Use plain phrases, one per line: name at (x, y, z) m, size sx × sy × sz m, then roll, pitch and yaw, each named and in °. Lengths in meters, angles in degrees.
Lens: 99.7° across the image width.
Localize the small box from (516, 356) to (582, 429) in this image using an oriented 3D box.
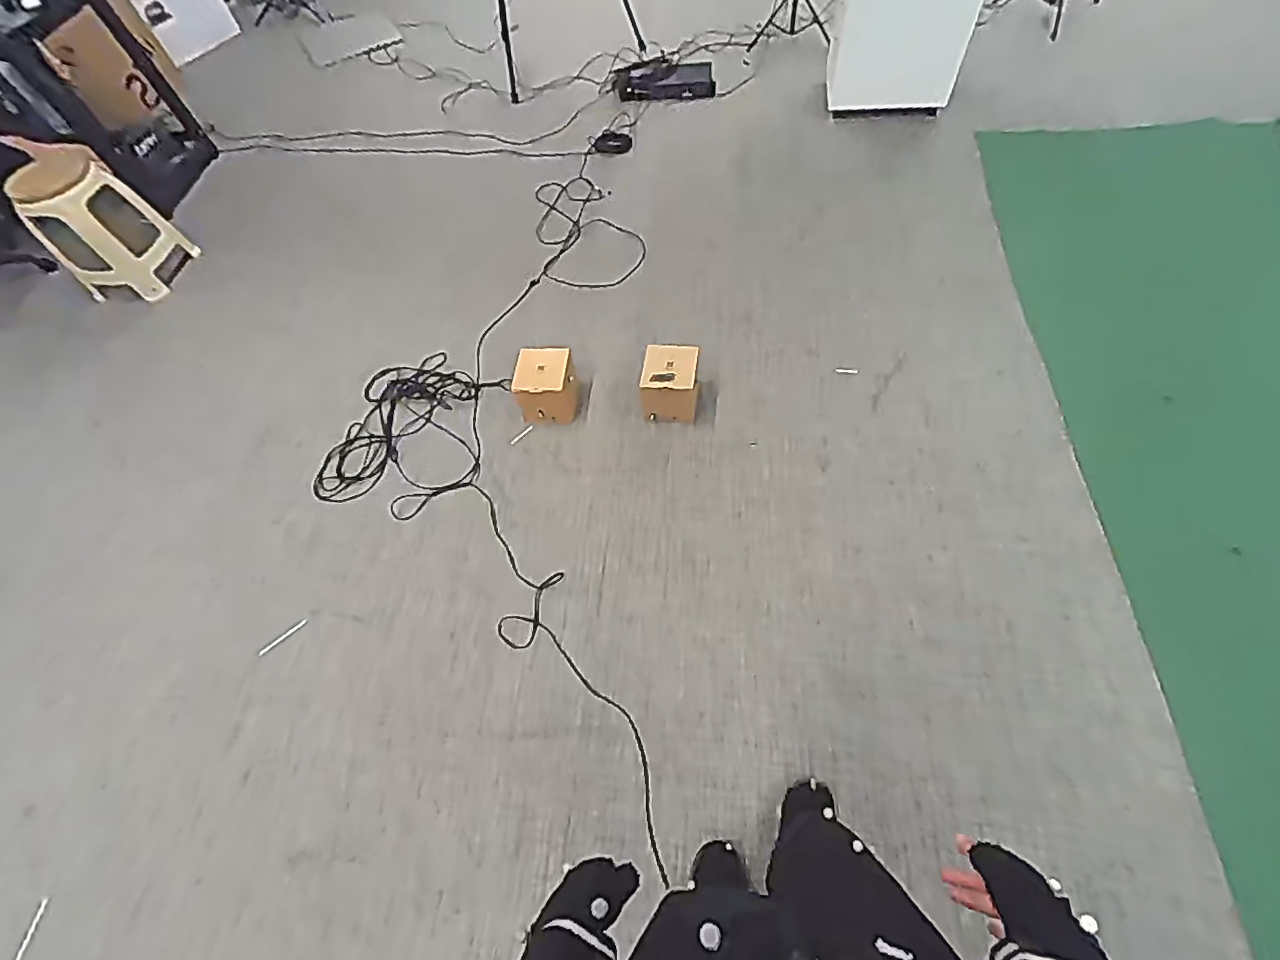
small box at (-0.293, -0.289, 1.782) m, size 0.168 × 0.176 × 0.179 m, roll 1°, pitch 60°, yaw 8°

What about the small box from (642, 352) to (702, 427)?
small box at (0.107, -0.287, 1.731) m, size 0.168 × 0.176 × 0.179 m, roll 5°, pitch 60°, yaw 10°
